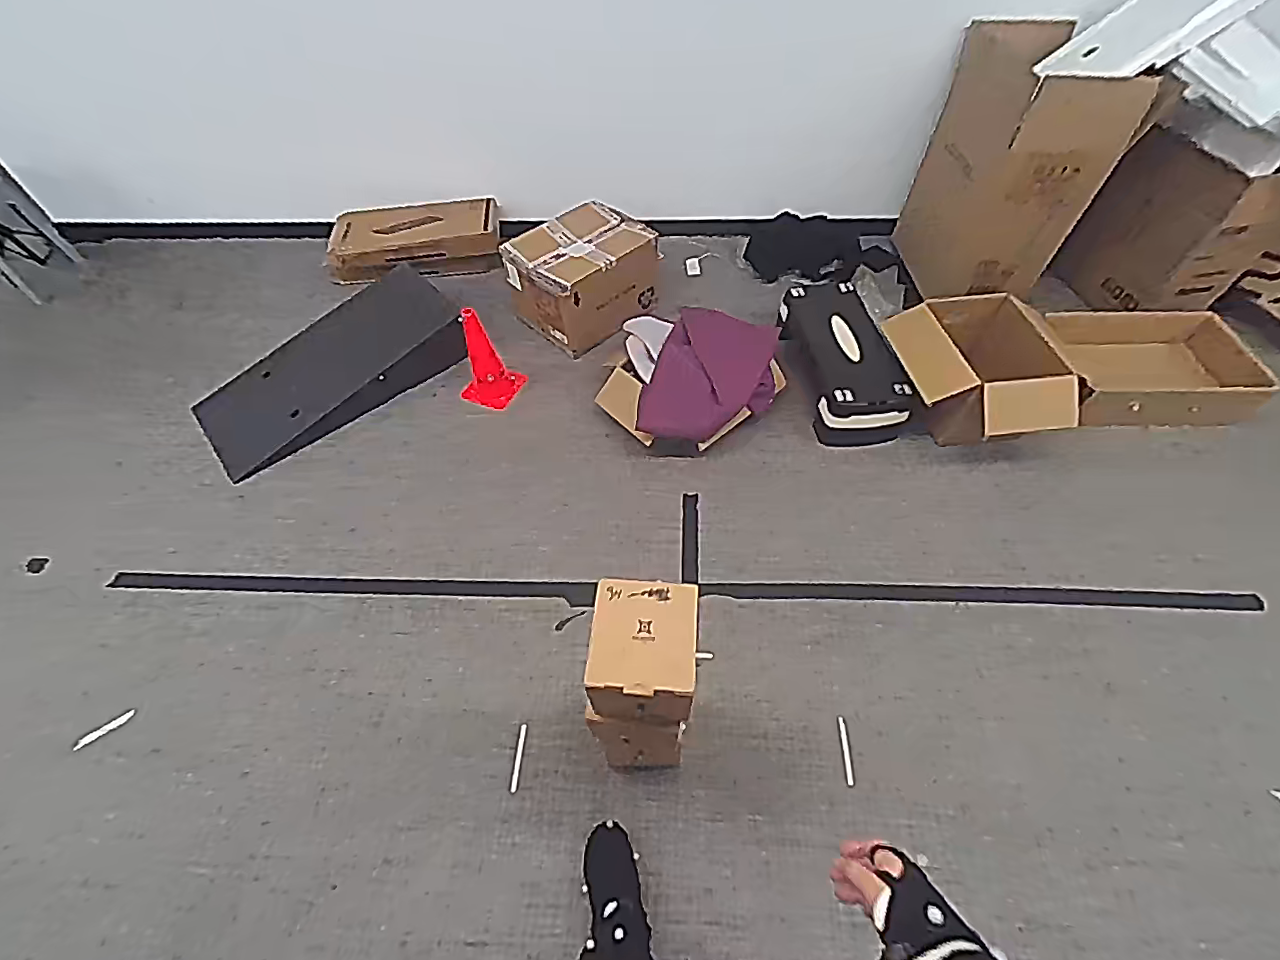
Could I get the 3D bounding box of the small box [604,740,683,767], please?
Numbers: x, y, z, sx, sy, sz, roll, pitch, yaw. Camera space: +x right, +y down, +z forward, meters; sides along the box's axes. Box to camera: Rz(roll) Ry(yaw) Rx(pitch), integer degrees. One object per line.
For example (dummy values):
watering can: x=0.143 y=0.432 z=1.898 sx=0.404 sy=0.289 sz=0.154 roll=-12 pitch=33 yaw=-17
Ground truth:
small box: x=0.009 y=0.578 z=1.286 sx=0.179 sy=0.176 sz=0.168 roll=-1 pitch=54 yaw=0

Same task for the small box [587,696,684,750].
small box: x=0.005 y=0.390 z=1.018 sx=0.168 sy=0.176 sz=0.179 roll=5 pitch=55 yaw=7

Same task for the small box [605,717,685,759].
small box: x=0.010 y=0.481 z=1.153 sx=0.168 sy=0.176 sz=0.179 roll=1 pitch=54 yaw=3

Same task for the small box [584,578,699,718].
small box: x=0.011 y=0.282 z=0.894 sx=0.168 sy=0.176 sz=0.179 roll=3 pitch=54 yaw=5
